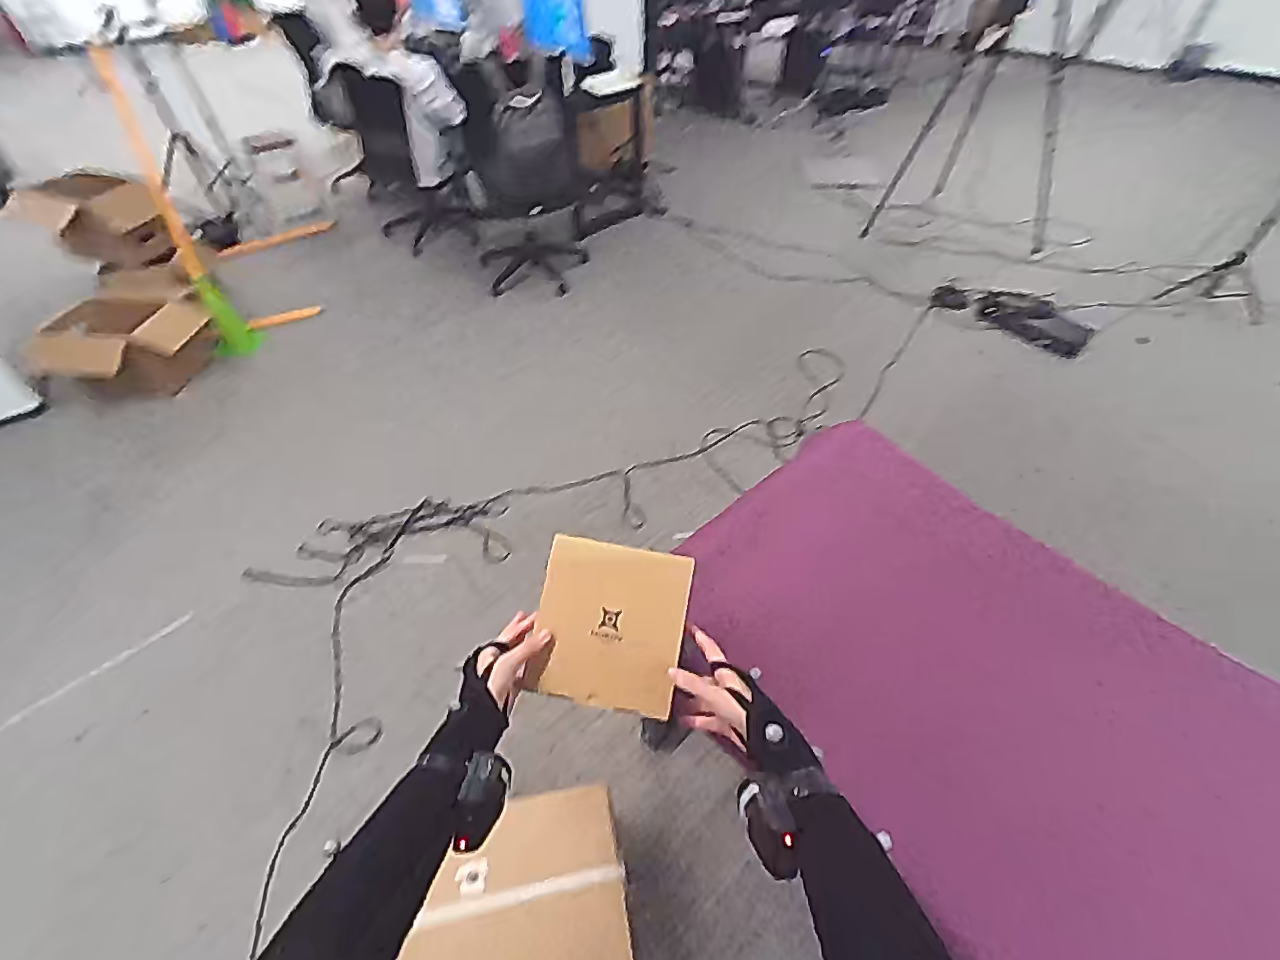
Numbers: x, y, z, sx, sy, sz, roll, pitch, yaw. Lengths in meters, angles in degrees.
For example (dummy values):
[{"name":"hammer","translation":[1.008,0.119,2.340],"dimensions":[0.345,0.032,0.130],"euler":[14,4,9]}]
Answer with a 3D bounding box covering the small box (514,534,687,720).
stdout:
[{"name":"small box","translation":[-0.039,0.176,0.669],"dimensions":[0.168,0.176,0.179],"euler":[9,77,5]}]
